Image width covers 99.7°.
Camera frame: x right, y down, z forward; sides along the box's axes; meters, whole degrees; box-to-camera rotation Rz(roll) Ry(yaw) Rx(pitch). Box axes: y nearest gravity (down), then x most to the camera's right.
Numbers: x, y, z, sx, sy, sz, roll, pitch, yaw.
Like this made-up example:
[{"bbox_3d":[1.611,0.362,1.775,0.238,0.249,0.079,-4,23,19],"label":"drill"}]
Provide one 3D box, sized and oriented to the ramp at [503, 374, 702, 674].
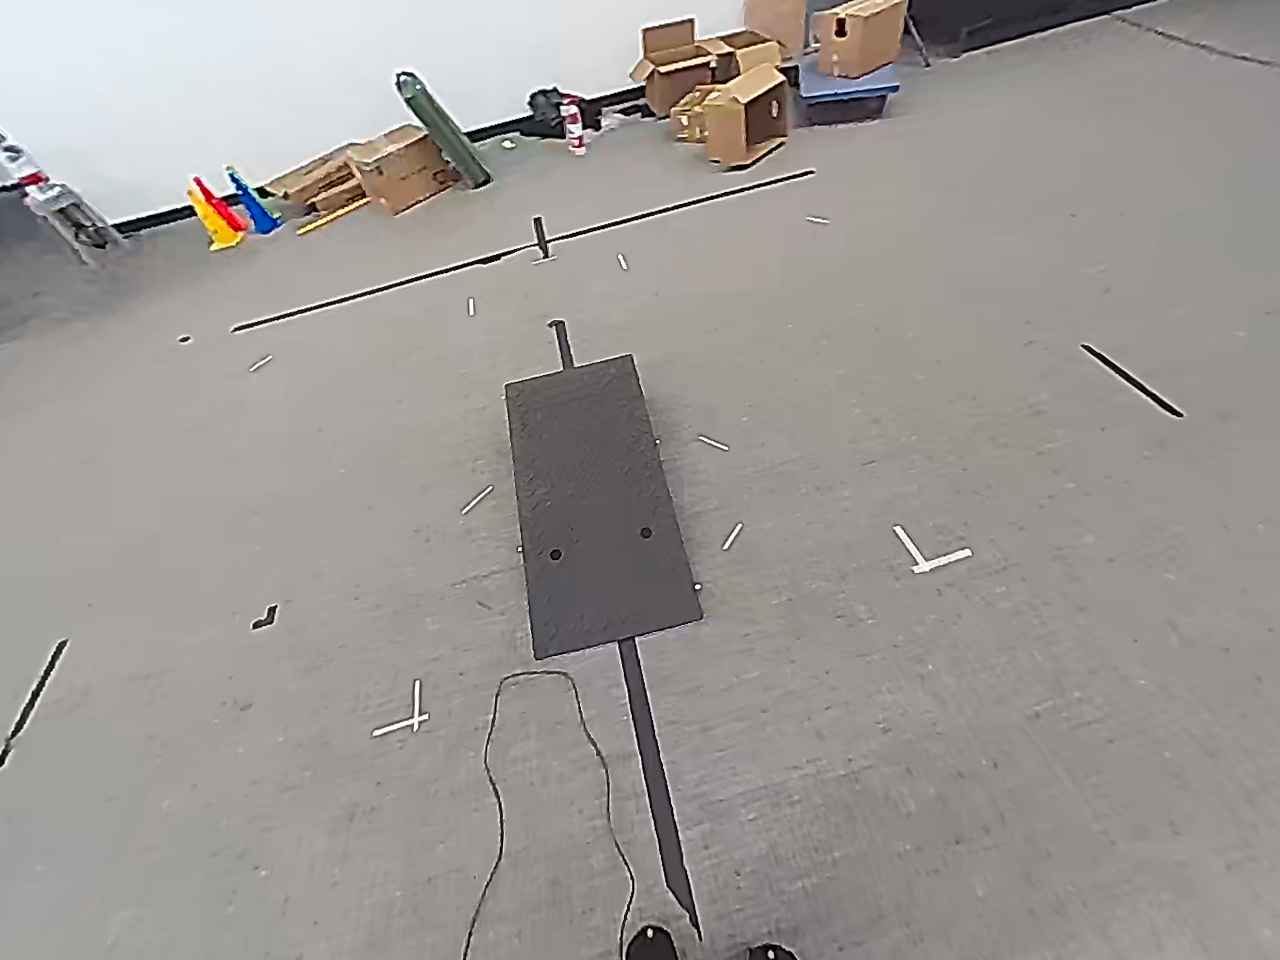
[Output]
[{"bbox_3d":[-0.162,0.077,1.777,0.509,0.206,0.991,-15,49,-2],"label":"ramp"}]
